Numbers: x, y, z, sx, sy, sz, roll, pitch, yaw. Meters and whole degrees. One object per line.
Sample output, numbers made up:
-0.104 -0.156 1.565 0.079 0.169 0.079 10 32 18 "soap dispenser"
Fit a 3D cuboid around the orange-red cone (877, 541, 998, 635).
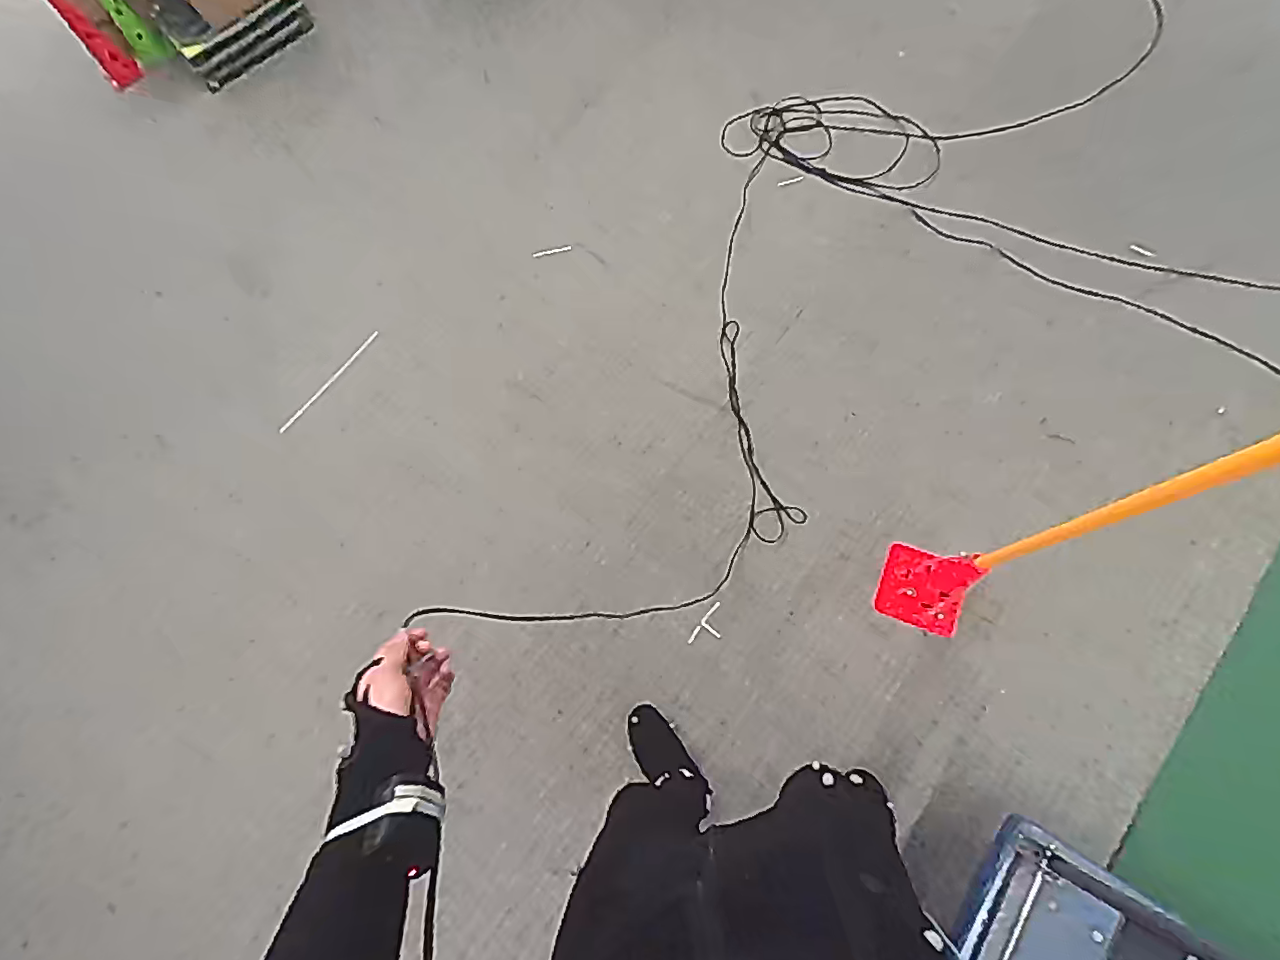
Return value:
0.712 0.217 1.238 0.198 0.360 0.199 21 74 14 "orange-red cone"
